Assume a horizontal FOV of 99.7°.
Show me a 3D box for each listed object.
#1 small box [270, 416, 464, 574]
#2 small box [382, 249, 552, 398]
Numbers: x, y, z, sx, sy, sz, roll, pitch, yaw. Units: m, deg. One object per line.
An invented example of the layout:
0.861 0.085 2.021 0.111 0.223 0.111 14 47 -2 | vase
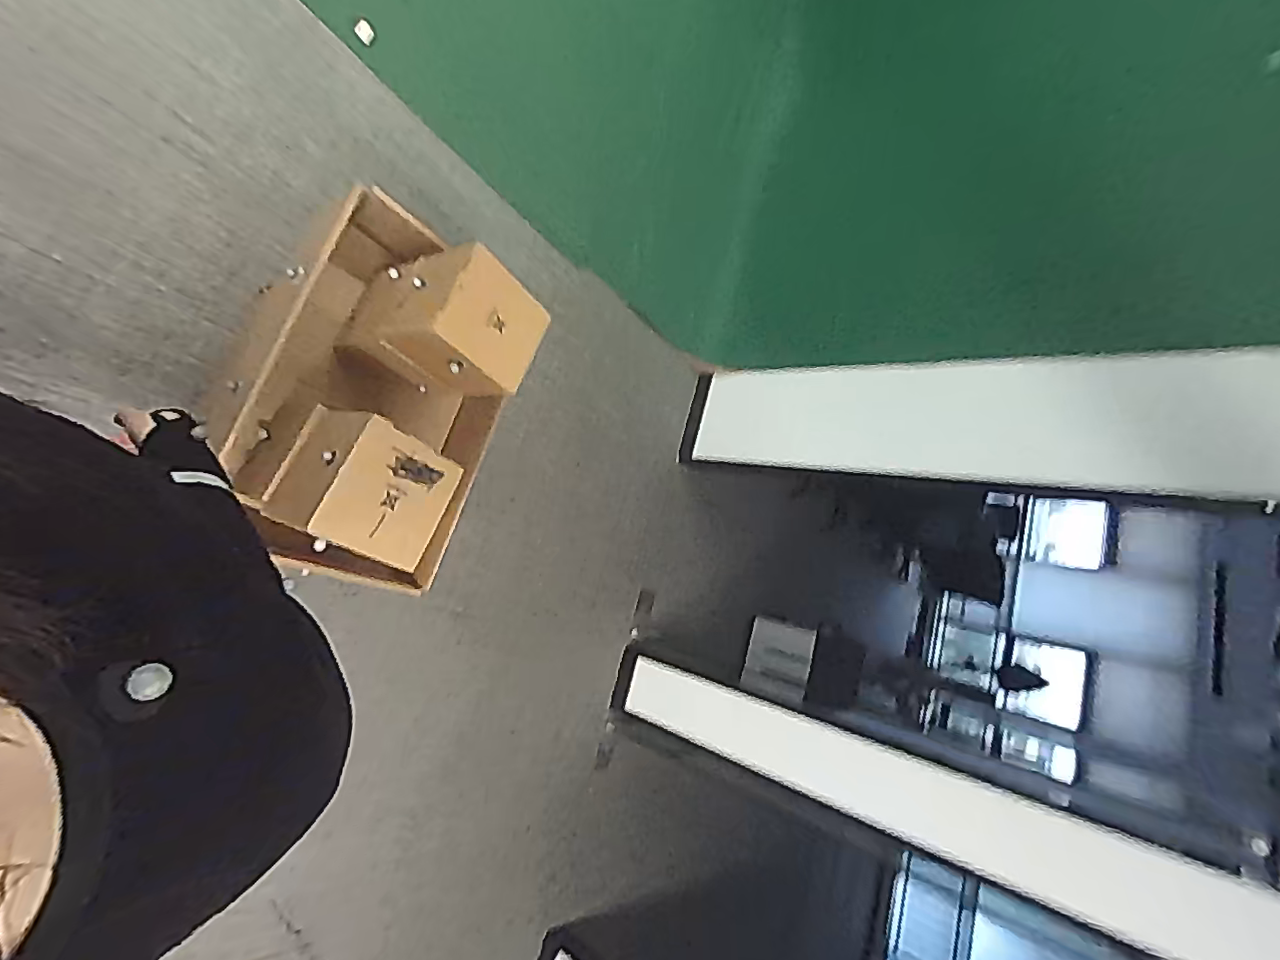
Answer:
-0.407 0.018 0.808 0.168 0.176 0.179 41 64 -46 | small box
-0.289 -0.256 0.913 0.179 0.176 0.168 41 64 -46 | small box
